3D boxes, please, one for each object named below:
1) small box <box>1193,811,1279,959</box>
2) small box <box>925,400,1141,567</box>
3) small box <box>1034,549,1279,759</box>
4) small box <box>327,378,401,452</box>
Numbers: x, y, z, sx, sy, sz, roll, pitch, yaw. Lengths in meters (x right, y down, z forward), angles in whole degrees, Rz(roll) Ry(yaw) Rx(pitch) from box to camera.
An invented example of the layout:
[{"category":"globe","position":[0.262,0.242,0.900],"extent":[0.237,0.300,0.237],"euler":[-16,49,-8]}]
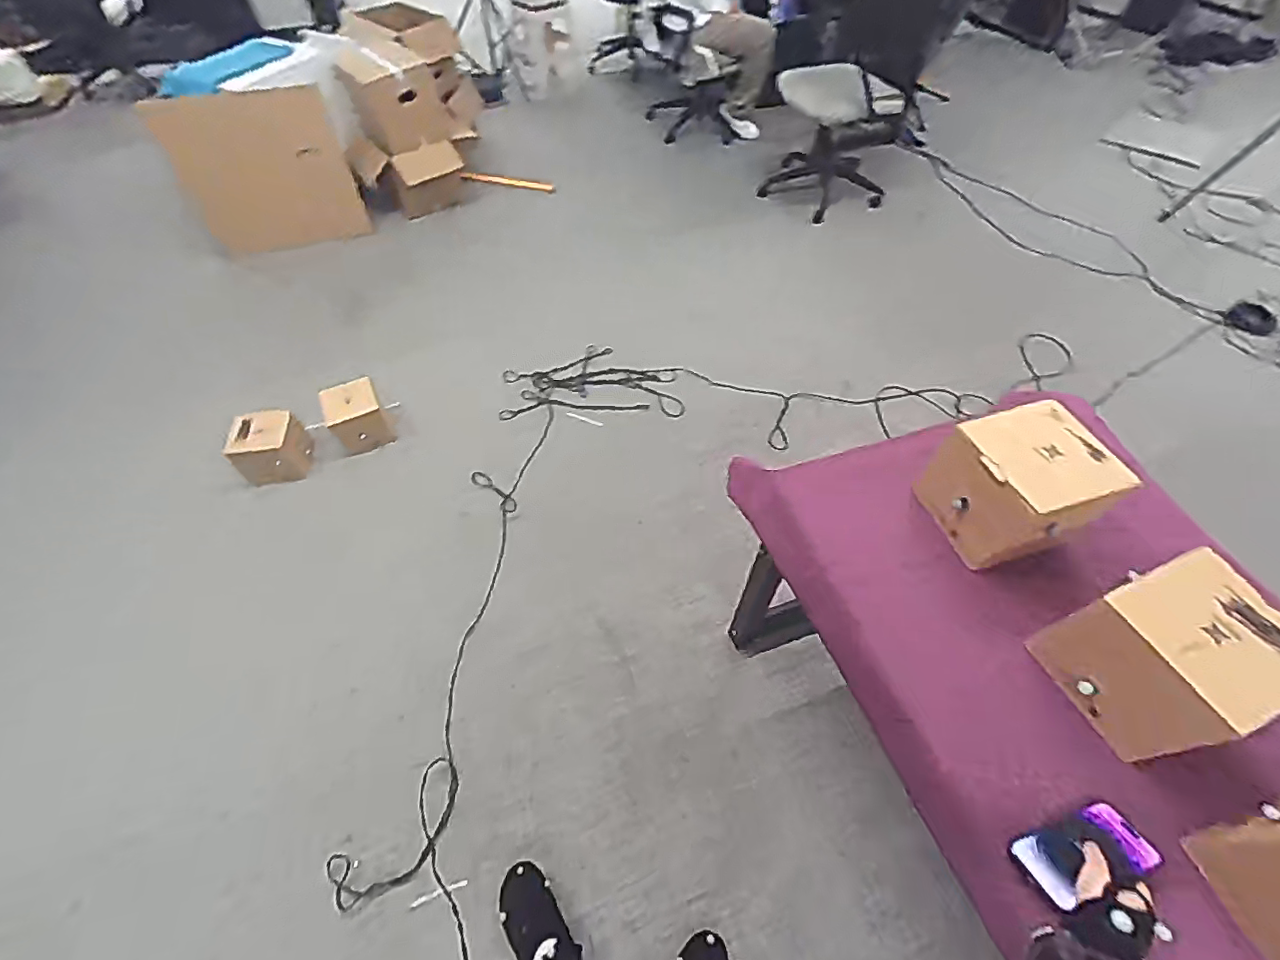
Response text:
[{"category":"small box","position":[0.718,0.419,0.516],"extent":[0.168,0.176,0.179],"euler":[-12,55,-8]},{"category":"small box","position":[0.564,0.010,0.813],"extent":[0.179,0.176,0.168],"euler":[-14,55,-9]},{"category":"small box","position":[0.647,0.216,0.663],"extent":[0.179,0.176,0.168],"euler":[-19,56,-12]},{"category":"small box","position":[-0.954,-0.217,1.878],"extent":[0.168,0.176,0.179],"euler":[-23,57,-15]}]
